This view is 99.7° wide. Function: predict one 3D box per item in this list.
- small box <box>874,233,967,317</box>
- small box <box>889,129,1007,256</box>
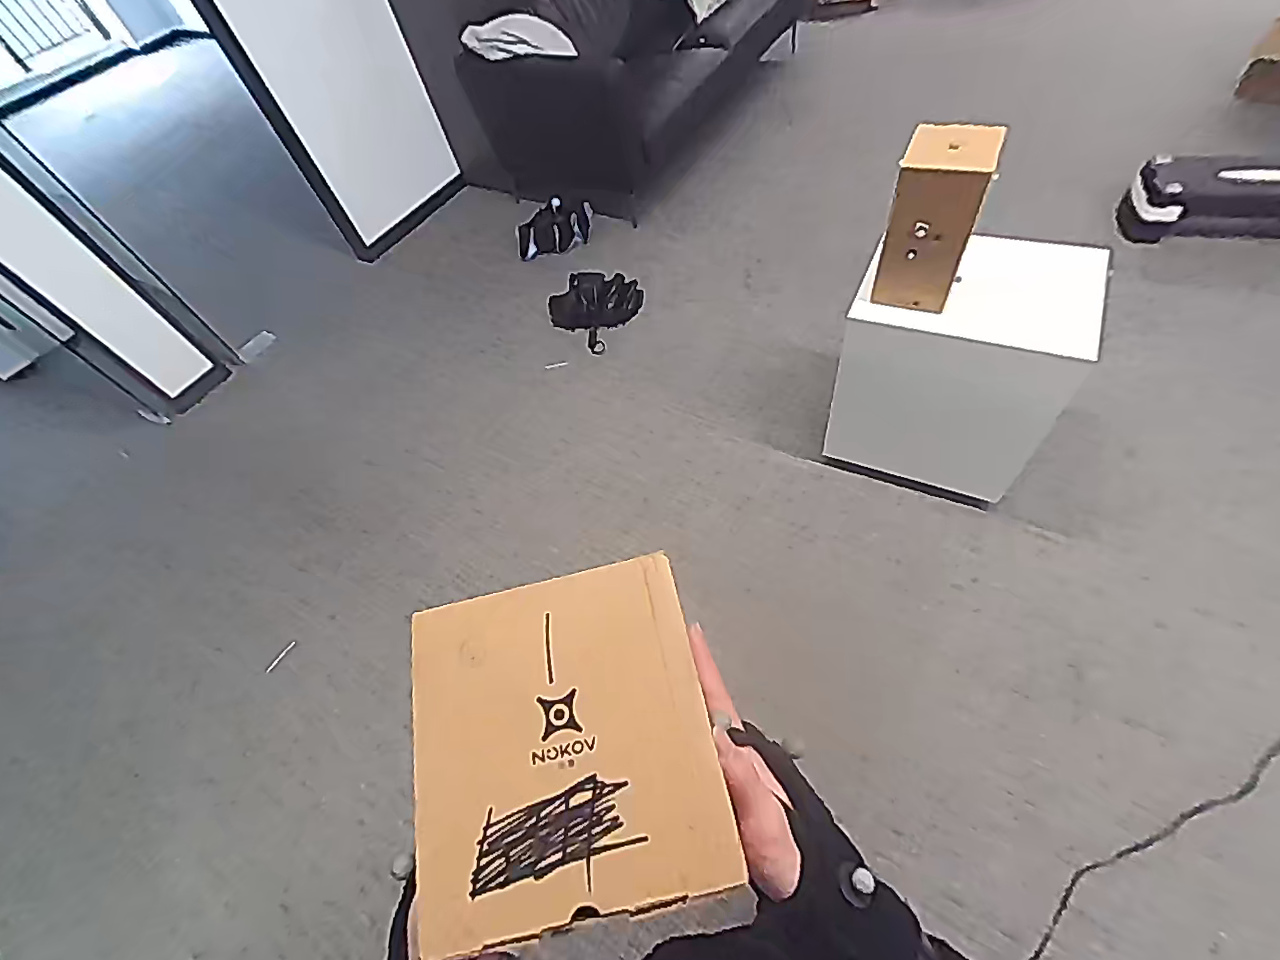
[{"bbox_3d":[0.662,-0.512,1.262,0.168,0.176,0.179,19,60,23],"label":"small box"},{"bbox_3d":[0.634,-0.600,1.127,0.168,0.176,0.179,17,61,23],"label":"small box"}]
